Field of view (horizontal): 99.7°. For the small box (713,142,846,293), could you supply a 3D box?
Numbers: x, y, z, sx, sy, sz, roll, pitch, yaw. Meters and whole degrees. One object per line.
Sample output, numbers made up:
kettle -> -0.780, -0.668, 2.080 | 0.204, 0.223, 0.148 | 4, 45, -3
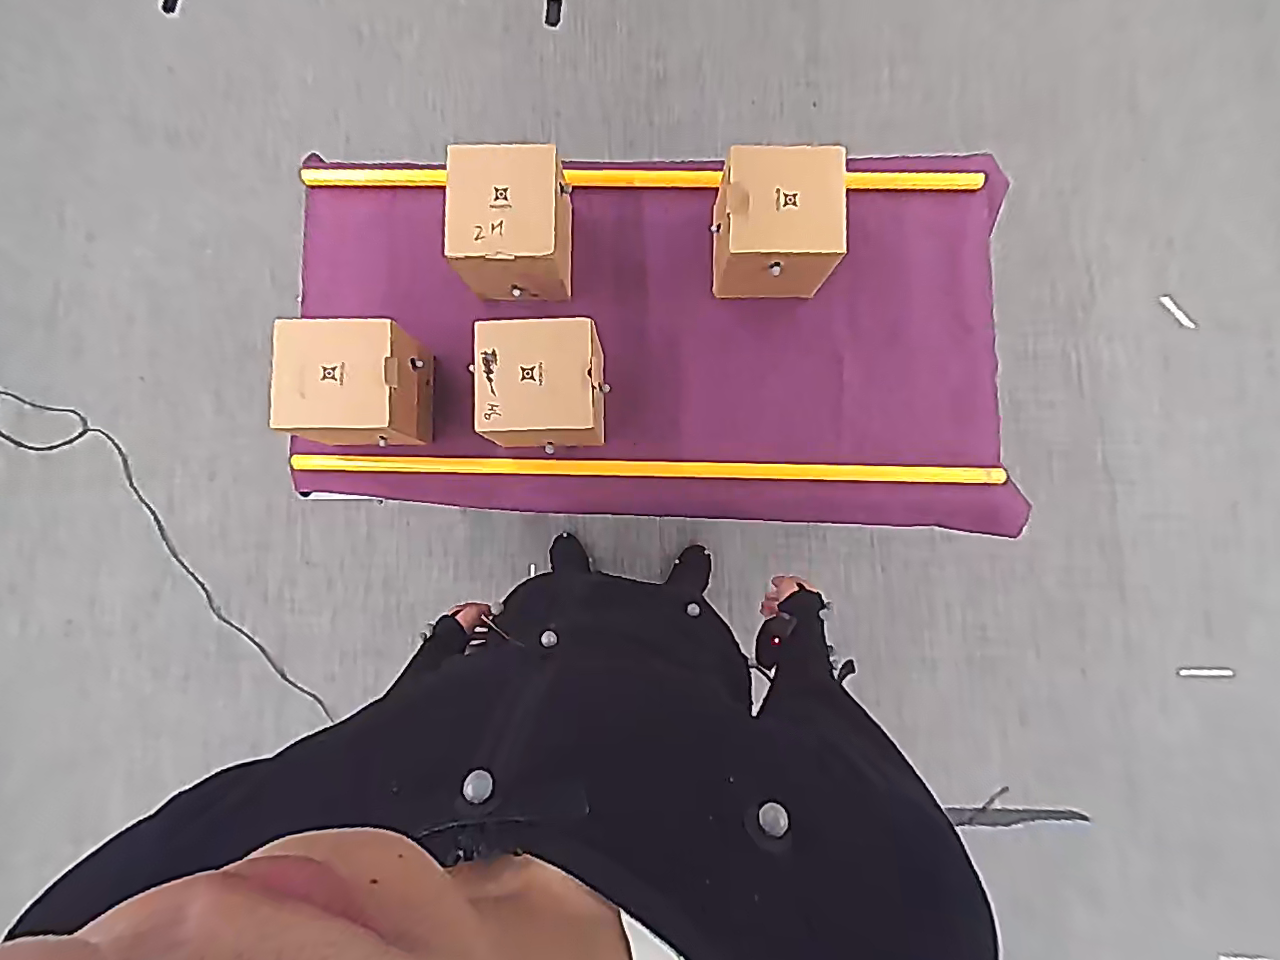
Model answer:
small box -> 0.217, -0.414, 0.877 | 0.179, 0.176, 0.168 | 1, 87, 2

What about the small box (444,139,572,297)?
small box -> -0.206, -0.419, 0.883 | 0.168, 0.176, 0.179 | 1, 88, 1

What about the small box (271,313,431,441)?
small box -> -0.449, -0.157, 0.866 | 0.179, 0.176, 0.168 | 0, 85, -1

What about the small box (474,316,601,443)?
small box -> -0.153, -0.152, 0.863 | 0.179, 0.176, 0.168 | -1, 86, 0
